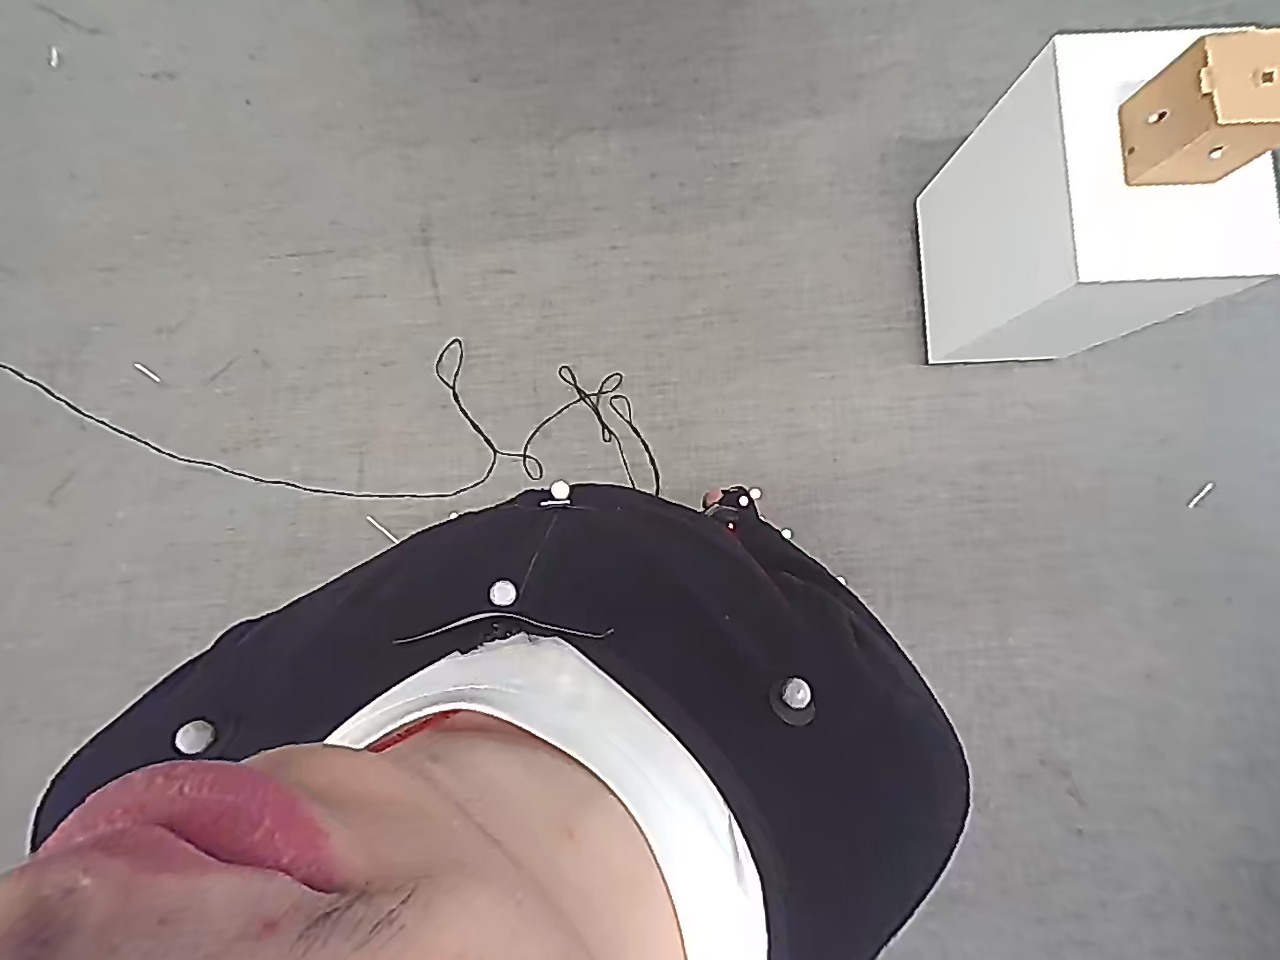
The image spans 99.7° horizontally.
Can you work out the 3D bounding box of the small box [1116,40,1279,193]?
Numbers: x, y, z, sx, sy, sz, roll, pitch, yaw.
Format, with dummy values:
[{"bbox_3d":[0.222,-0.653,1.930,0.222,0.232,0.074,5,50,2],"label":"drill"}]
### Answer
[{"bbox_3d":[1.020,-0.649,0.986,0.179,0.176,0.168,-4,85,-1],"label":"small box"}]
